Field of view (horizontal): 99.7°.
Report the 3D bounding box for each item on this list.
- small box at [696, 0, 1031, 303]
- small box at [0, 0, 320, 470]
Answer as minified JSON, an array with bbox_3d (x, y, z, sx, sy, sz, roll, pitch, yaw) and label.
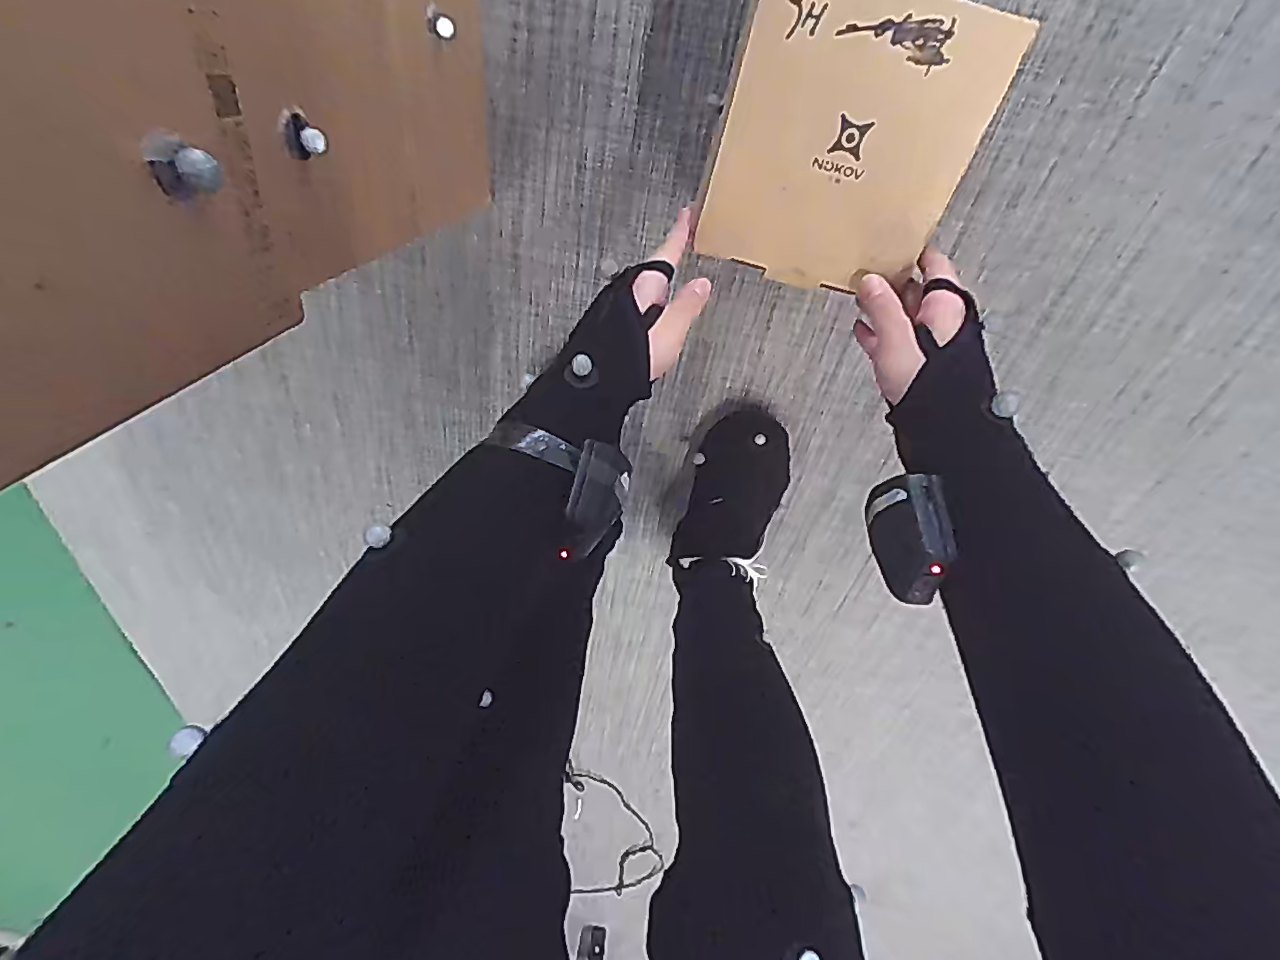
[{"bbox_3d":[0.152,-0.276,0.438,0.168,0.176,0.179,15,129,-4],"label":"small box"},{"bbox_3d":[-0.259,-0.129,0.194,0.179,0.176,0.168,10,126,-1],"label":"small box"}]
